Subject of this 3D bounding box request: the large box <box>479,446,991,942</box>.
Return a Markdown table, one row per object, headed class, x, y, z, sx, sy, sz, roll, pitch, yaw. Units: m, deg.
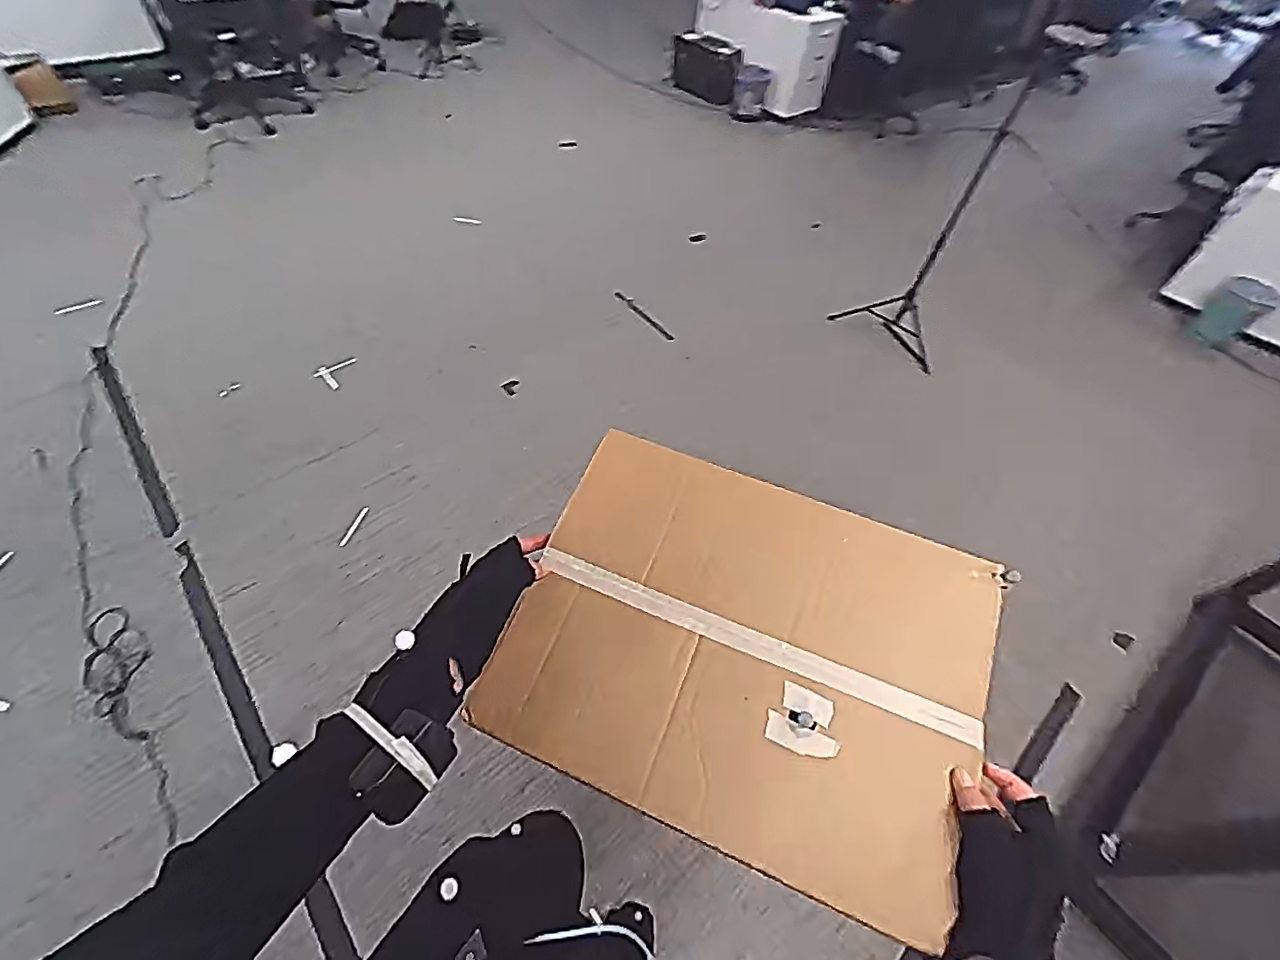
| class | x | y | z | sx | sy | sz | roll | pitch | yaw |
| --- | --- | --- | --- | --- | --- | --- | --- | --- | --- |
| large box | 0.099 | 0.217 | 0.625 | 0.408 | 0.320 | 0.320 | 20 | 66 | 11 |
